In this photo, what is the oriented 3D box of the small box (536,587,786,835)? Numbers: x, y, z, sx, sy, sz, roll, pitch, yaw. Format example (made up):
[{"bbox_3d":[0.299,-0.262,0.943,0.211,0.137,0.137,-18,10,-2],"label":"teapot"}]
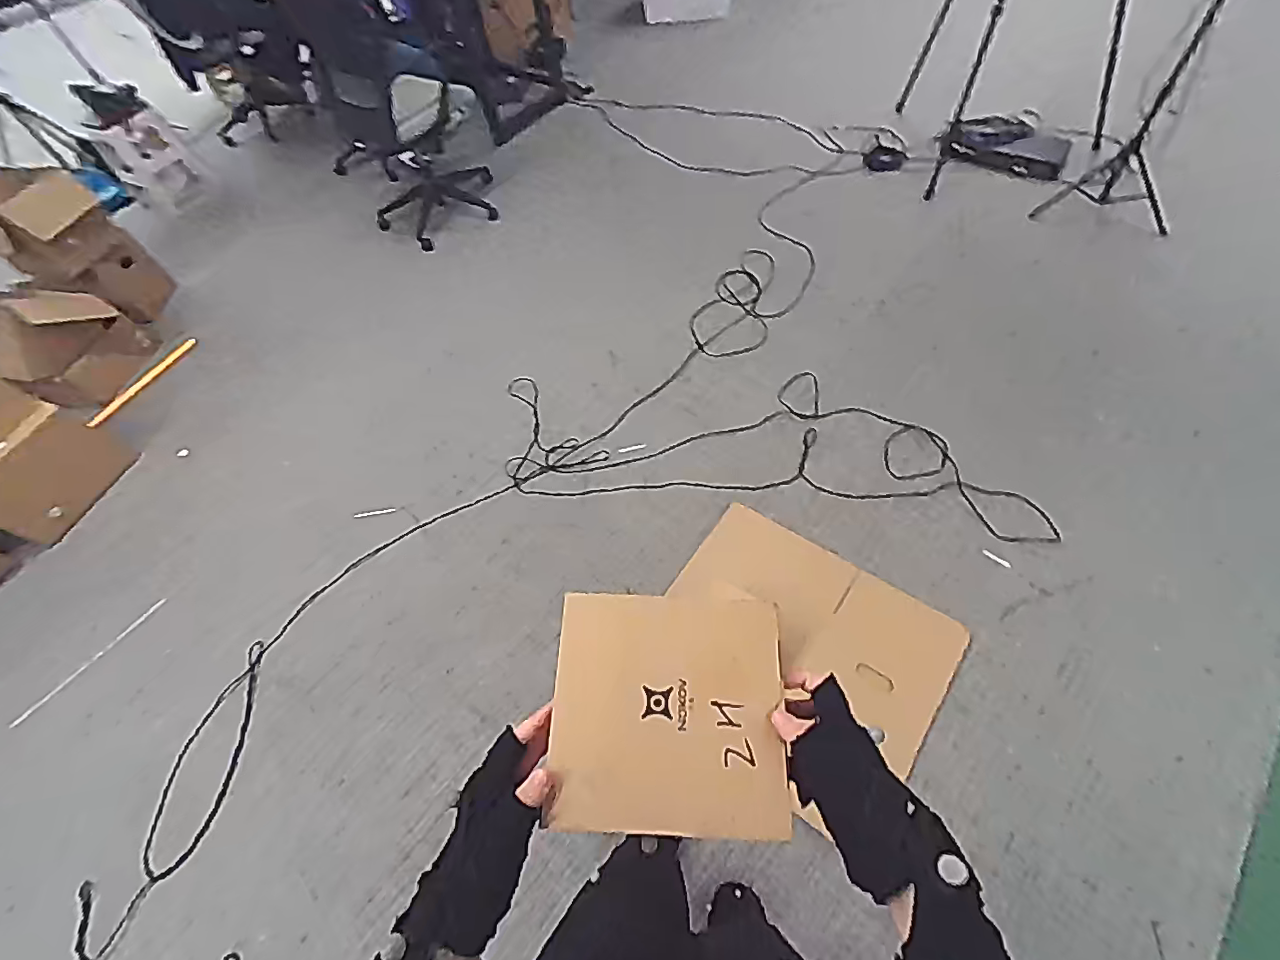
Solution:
[{"bbox_3d":[0.020,0.201,0.477,0.179,0.176,0.168,3,64,2],"label":"small box"}]
